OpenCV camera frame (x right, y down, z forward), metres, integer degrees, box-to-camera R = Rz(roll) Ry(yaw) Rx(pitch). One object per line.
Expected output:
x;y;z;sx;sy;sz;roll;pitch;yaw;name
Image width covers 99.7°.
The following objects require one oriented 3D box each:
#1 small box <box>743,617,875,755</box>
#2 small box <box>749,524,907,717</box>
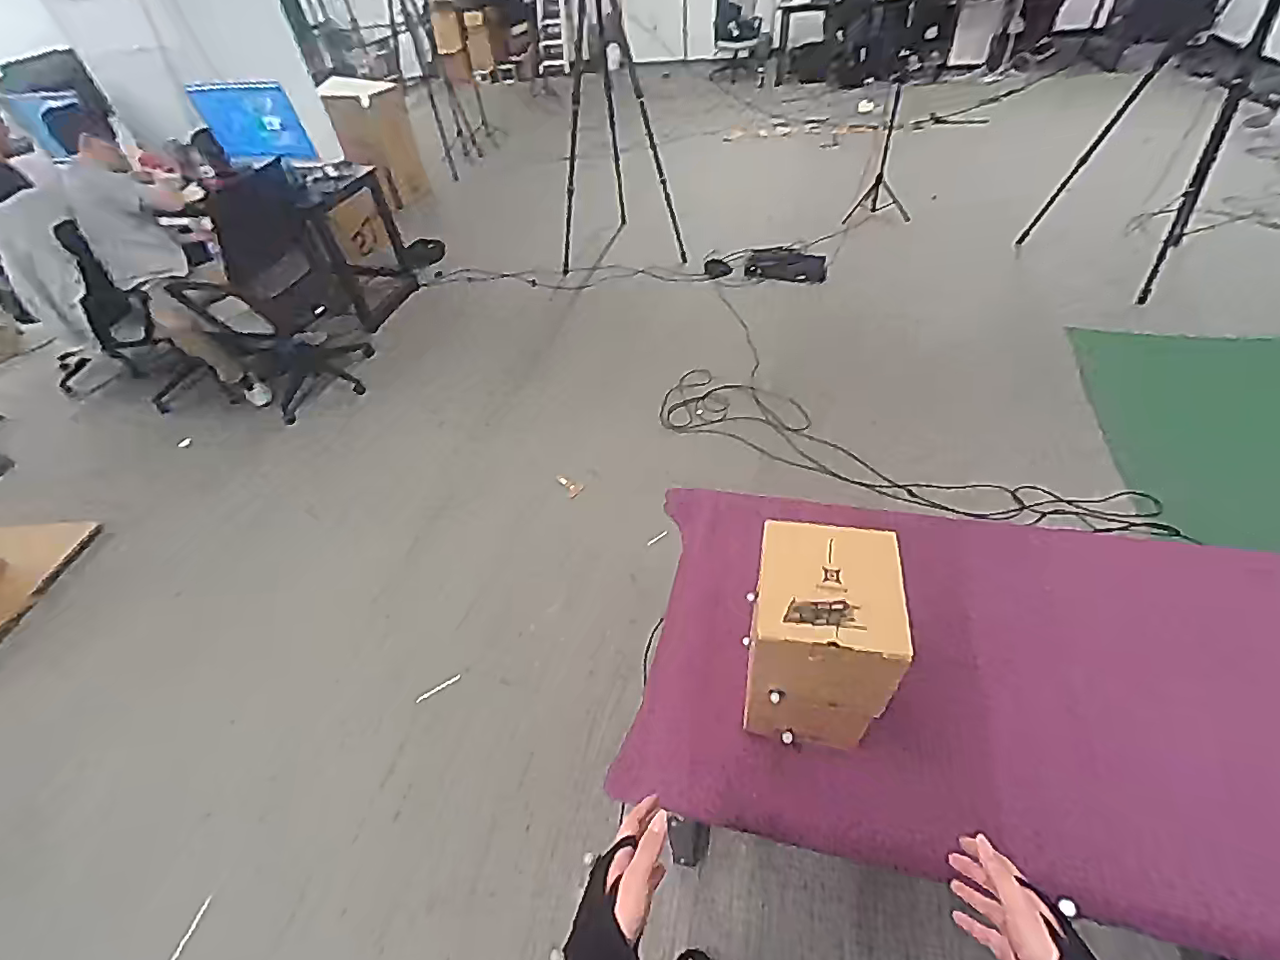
0.249;0.290;0.824;0.168;0.176;0.179;5;48;12;small box
0.233;0.183;0.702;0.168;0.176;0.179;5;46;13;small box
